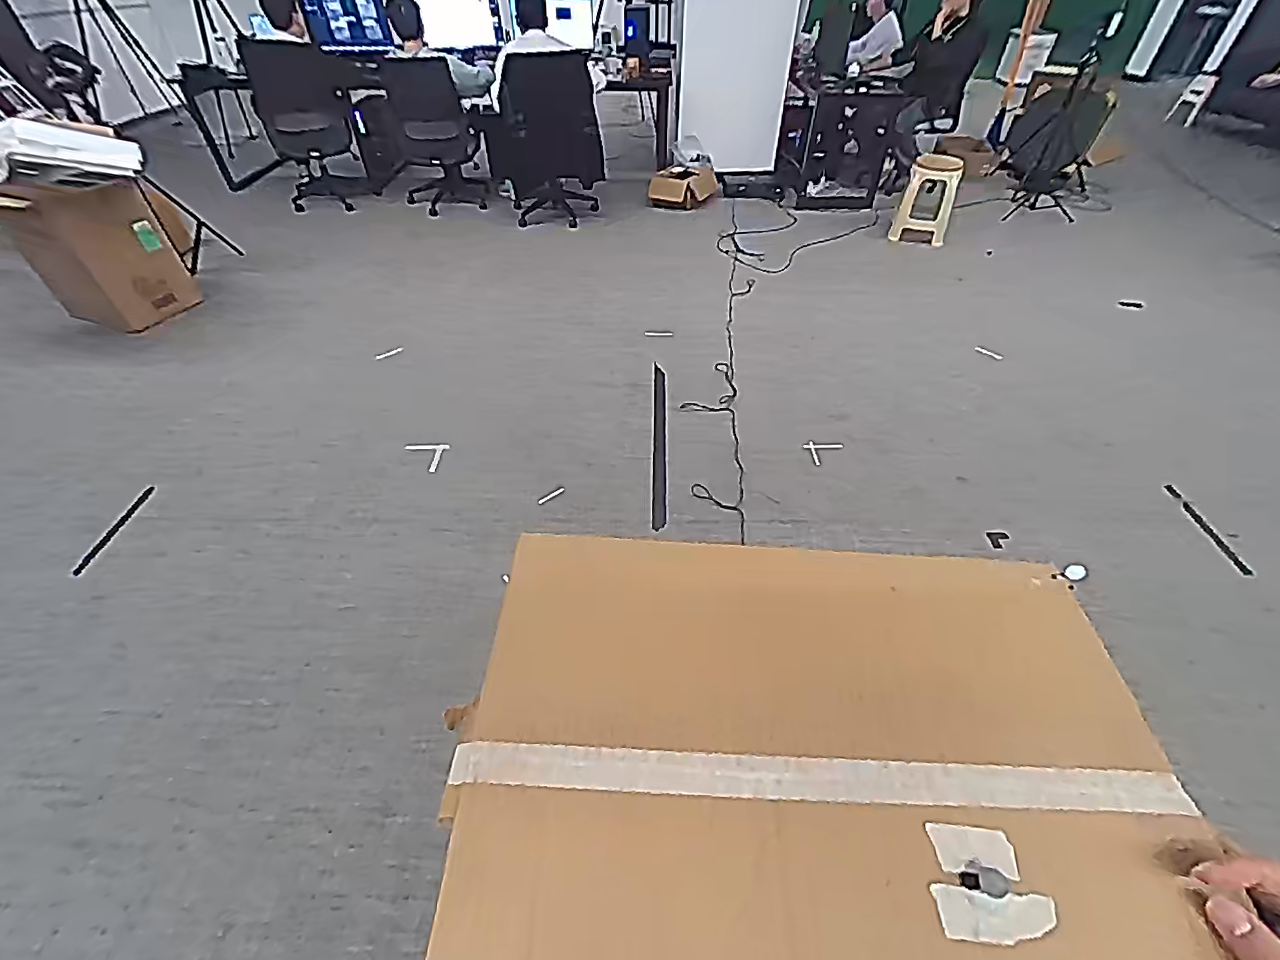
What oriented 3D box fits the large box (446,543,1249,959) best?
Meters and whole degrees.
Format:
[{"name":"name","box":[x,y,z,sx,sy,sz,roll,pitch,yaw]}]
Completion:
[{"name":"large box","box":[0.096,0.271,0.424,0.408,0.320,0.320,4,49,-2]}]
